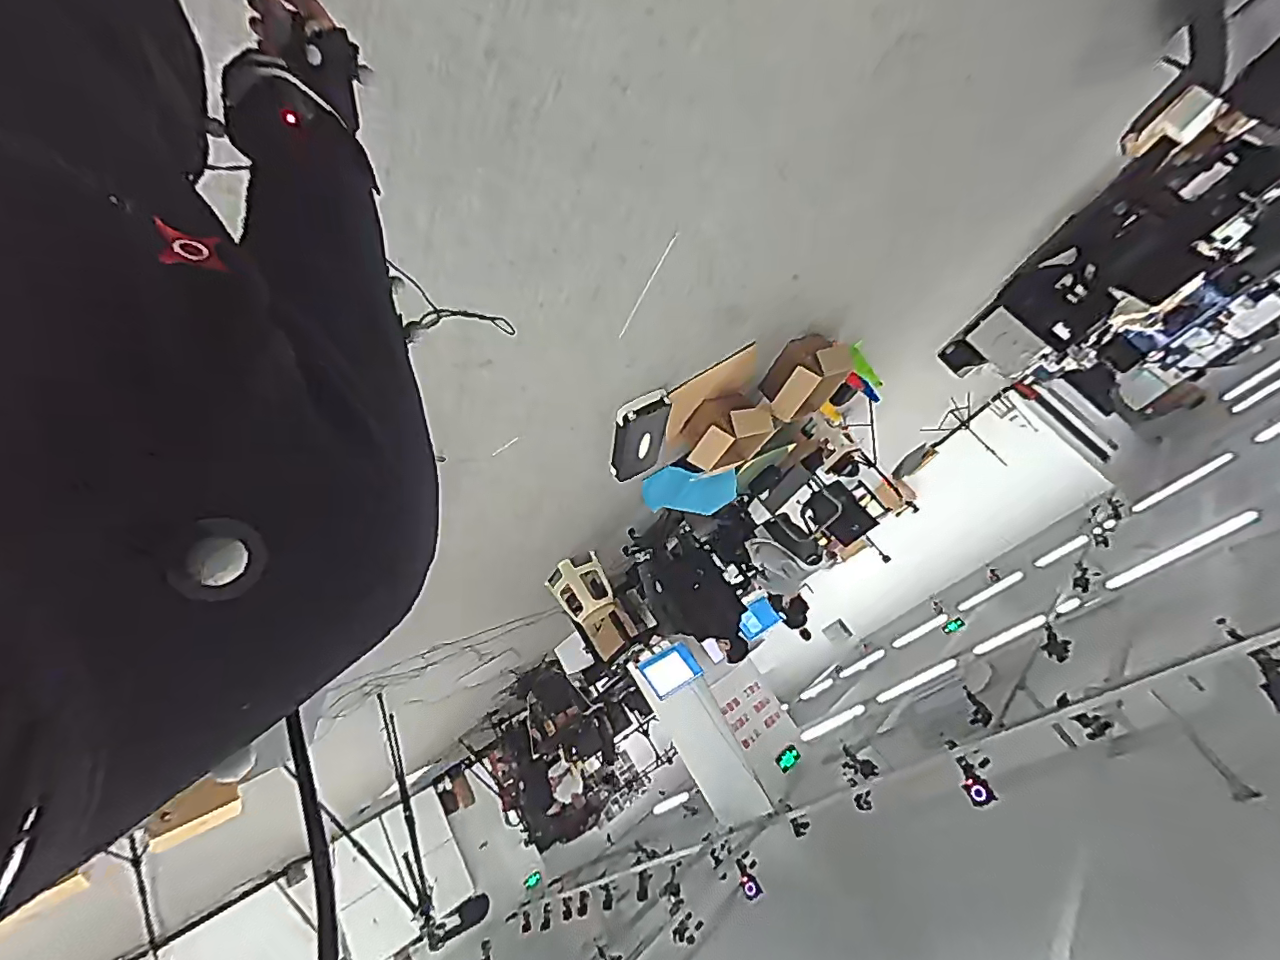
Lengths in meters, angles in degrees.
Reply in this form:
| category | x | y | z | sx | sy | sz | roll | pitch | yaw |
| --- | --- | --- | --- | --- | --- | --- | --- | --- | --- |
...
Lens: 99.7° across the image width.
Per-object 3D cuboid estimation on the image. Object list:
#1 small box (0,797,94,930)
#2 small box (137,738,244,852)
| category | x | y | z | sx | sy | sz | roll | pitch | yaw |
| --- | --- | --- | --- | --- | --- | --- | --- | --- | --- |
| small box | -1.314 | 0.823 | 1.155 | 0.179 | 0.176 | 0.168 | -15 | 153 | -44 |
| small box | -1.119 | 0.780 | 1.352 | 0.179 | 0.176 | 0.168 | -13 | 150 | -43 |
